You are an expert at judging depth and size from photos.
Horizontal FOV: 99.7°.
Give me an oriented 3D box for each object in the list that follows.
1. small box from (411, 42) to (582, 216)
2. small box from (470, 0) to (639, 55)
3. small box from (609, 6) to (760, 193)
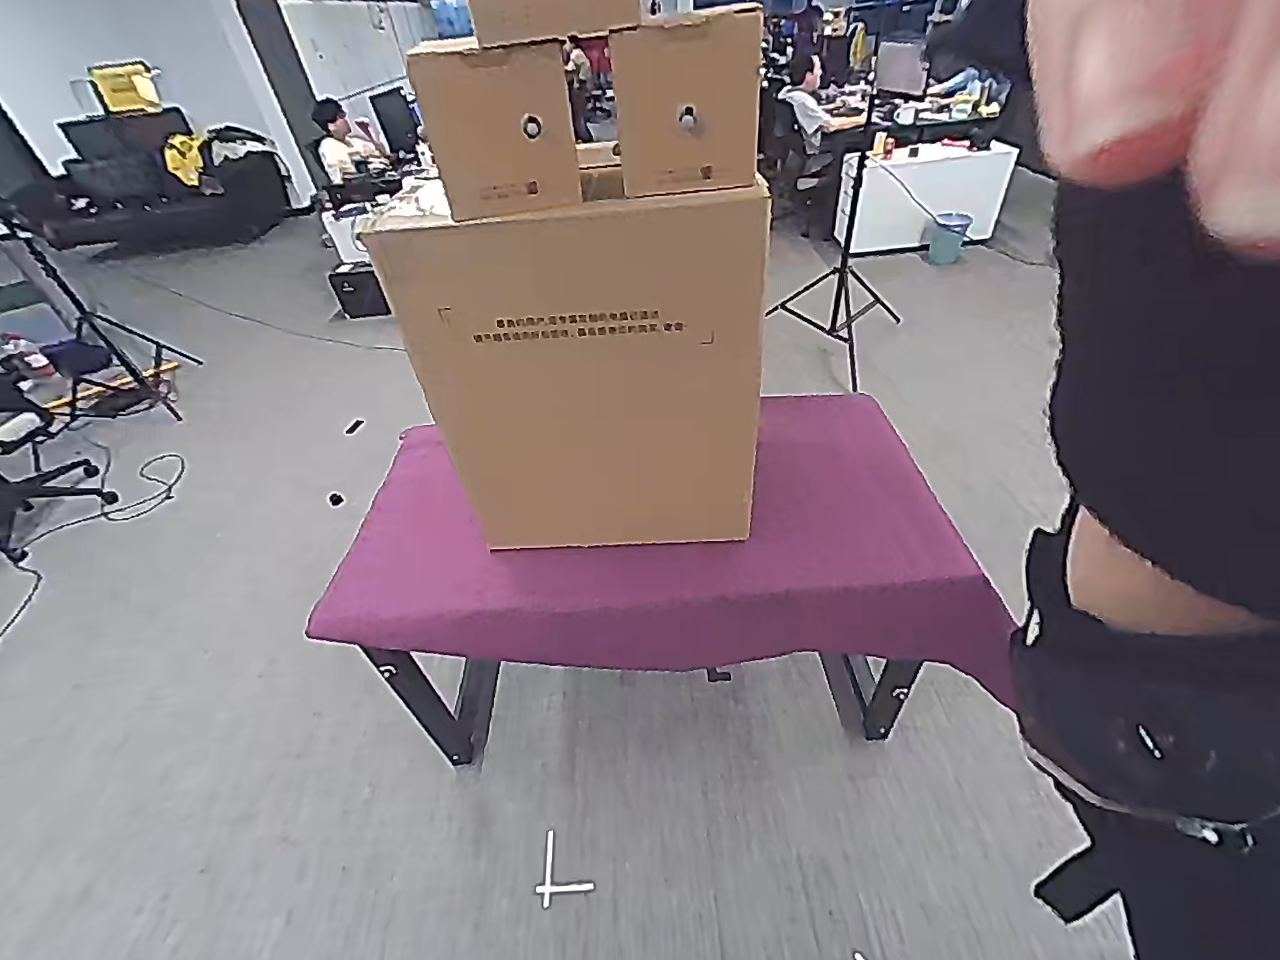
[{"bbox_3d":[-0.173,-0.449,0.691,0.168,0.176,0.179,-11,41,-6],"label":"small box"},{"bbox_3d":[-0.098,-0.573,0.571,0.179,0.176,0.168,-10,43,0],"label":"small box"},{"bbox_3d":[0.058,-0.477,0.687,0.168,0.176,0.179,-3,43,4],"label":"small box"}]
